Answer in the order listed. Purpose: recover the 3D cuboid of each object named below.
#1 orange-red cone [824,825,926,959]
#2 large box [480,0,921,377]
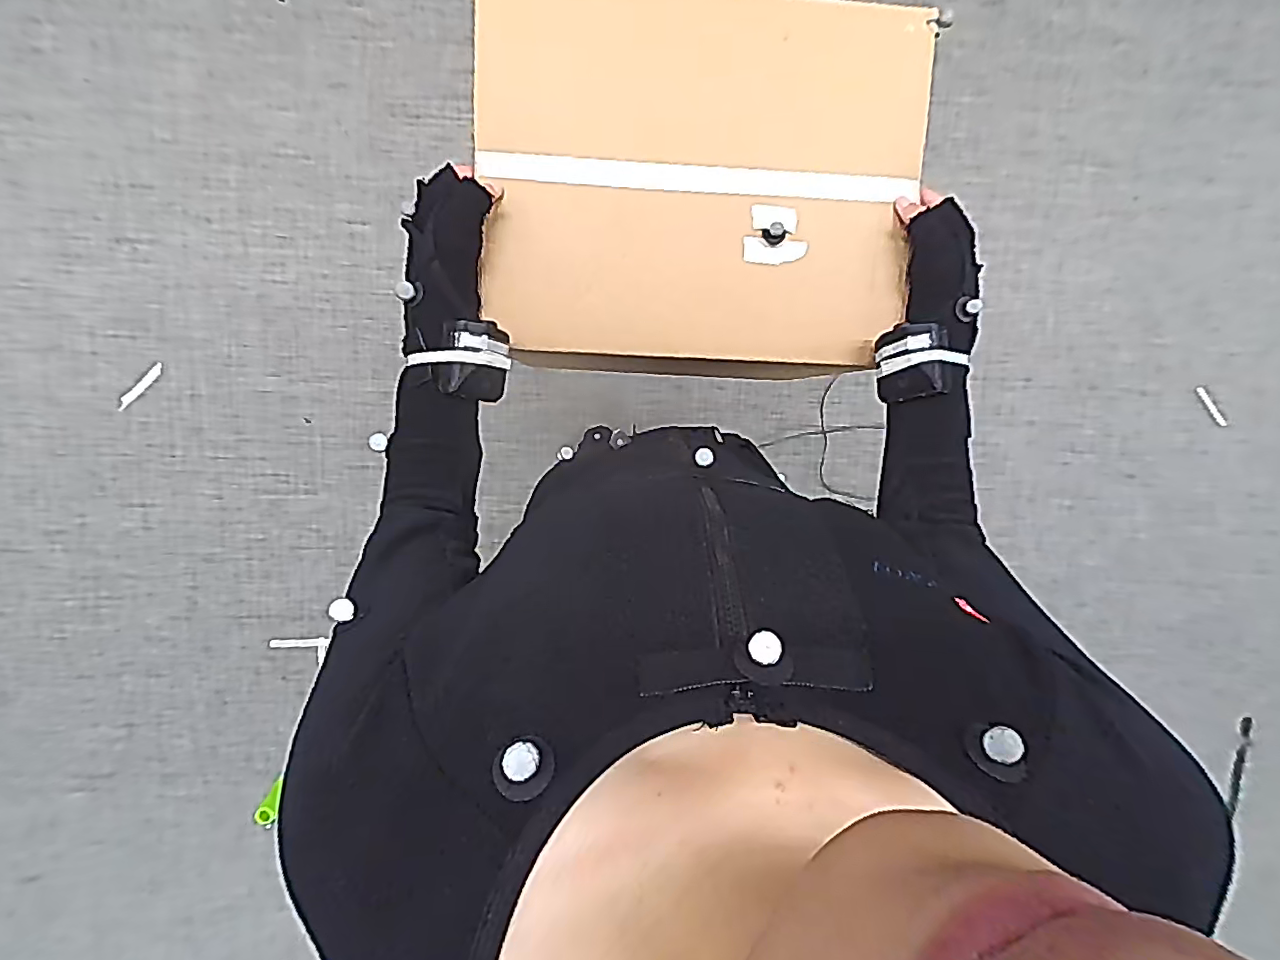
[{"bbox_3d":[0.655,1.140,1.445,0.198,0.360,0.199,-1,95,-3],"label":"orange-red cone"},{"bbox_3d":[0.044,-0.292,0.643,0.408,0.320,0.320,2,98,-5],"label":"large box"}]
